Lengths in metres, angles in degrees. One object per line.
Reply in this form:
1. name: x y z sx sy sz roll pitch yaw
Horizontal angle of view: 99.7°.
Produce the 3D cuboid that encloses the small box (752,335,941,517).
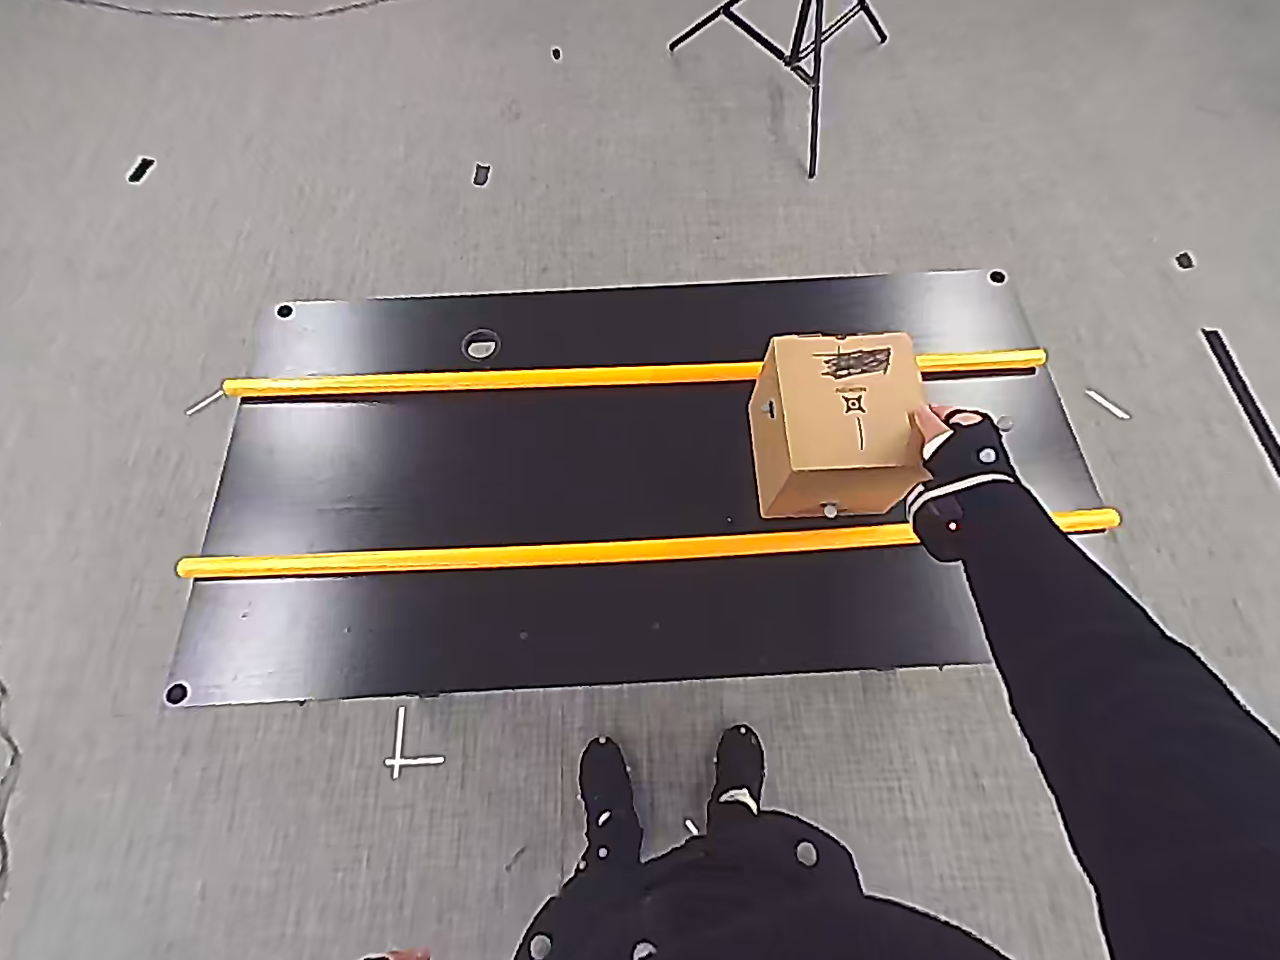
1. small box: 0.244 -0.062 0.688 0.168 0.176 0.179 -2 68 1
